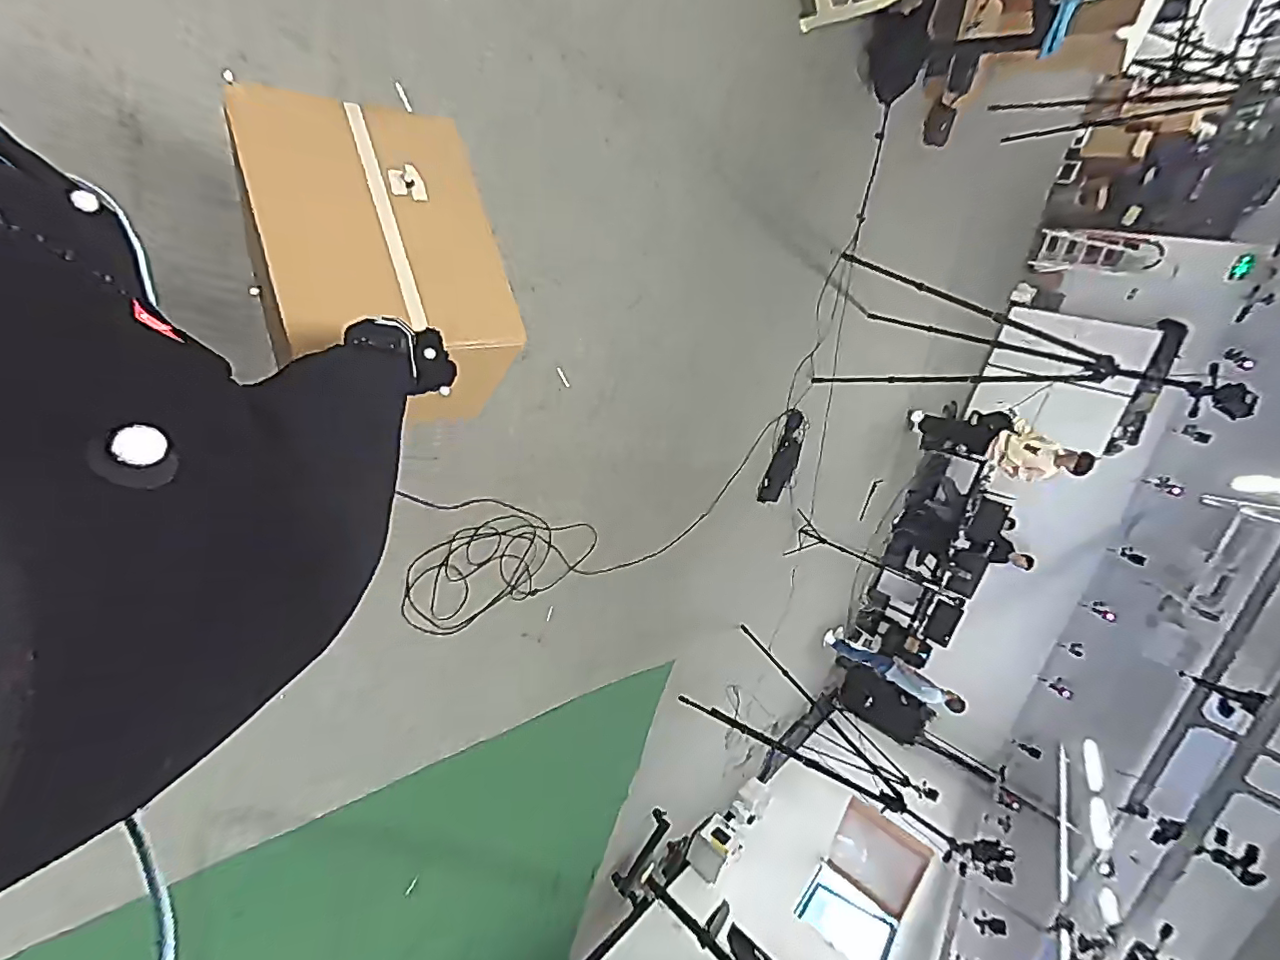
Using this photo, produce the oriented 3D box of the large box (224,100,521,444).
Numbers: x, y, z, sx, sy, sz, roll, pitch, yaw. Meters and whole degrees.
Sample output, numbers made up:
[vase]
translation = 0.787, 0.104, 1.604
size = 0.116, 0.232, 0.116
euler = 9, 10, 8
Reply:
[large box]
translation = -0.444, -0.320, 0.910
size = 0.320, 0.320, 0.408
euler = -14, 79, -35
